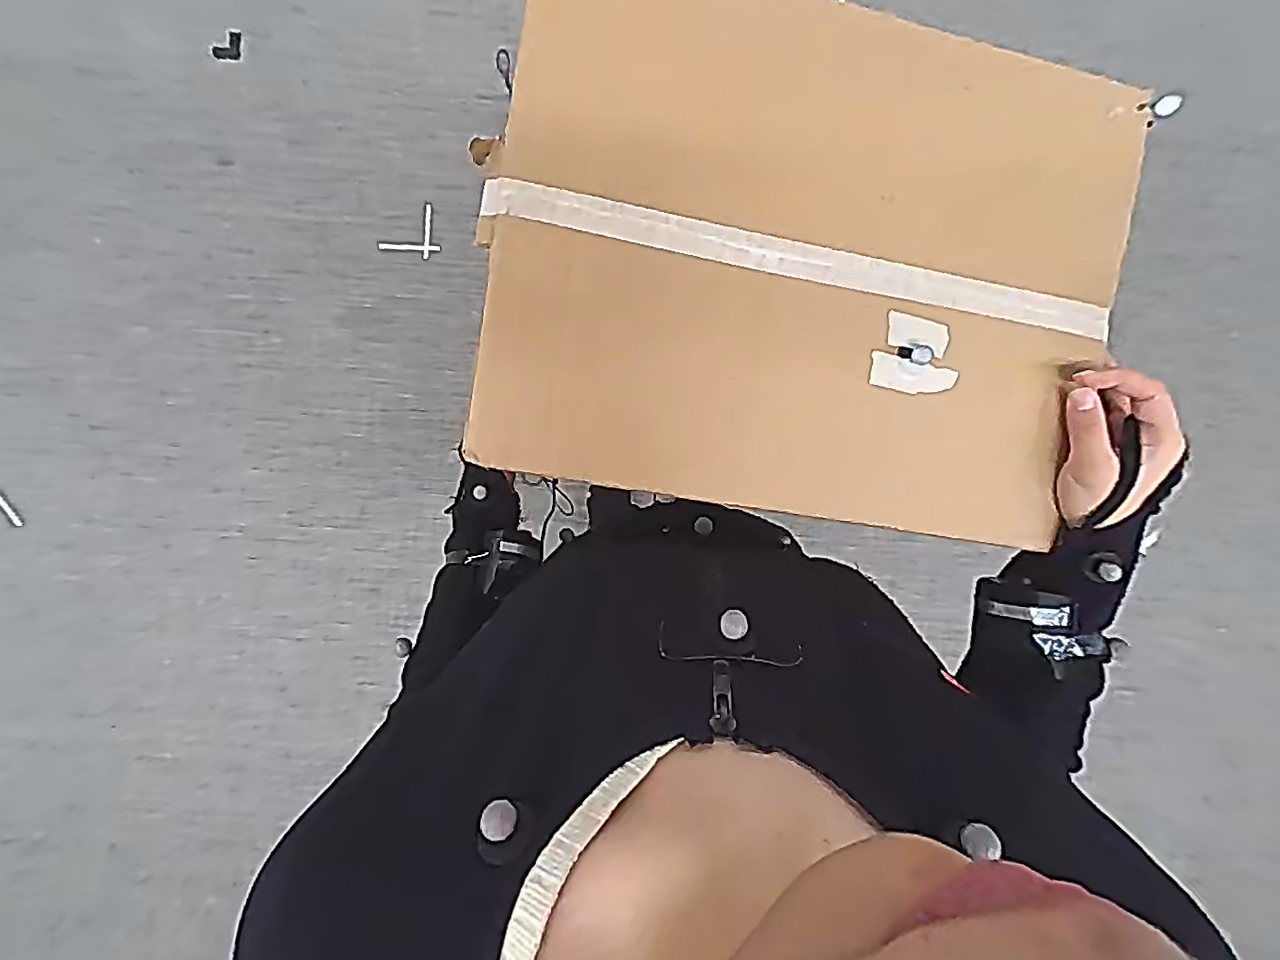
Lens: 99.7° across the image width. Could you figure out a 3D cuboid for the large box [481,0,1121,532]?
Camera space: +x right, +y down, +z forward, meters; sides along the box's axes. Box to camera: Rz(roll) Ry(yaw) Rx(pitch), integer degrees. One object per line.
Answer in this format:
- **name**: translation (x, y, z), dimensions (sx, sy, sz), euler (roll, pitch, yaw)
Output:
- **large box**: translation (0.094, -0.149, 0.495), dimensions (0.408, 0.320, 0.320), euler (9, 94, -9)
